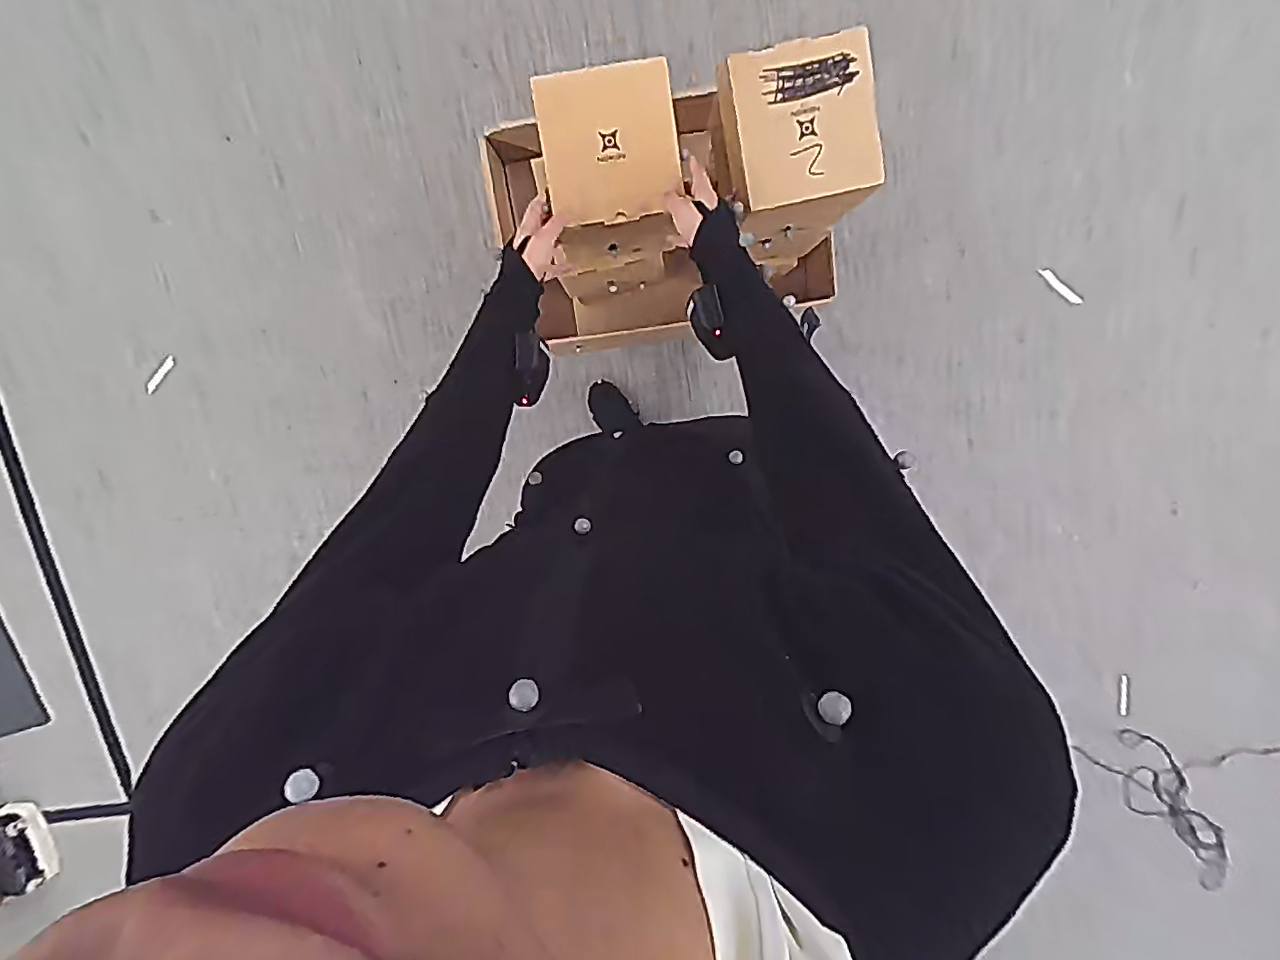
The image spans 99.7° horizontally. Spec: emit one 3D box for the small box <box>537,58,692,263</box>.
[{"bbox_3d":[-0.033,-0.412,0.727,0.168,0.176,0.179,-10,100,0],"label":"small box"}]

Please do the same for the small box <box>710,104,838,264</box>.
[{"bbox_3d":[0.208,-0.467,0.876,0.168,0.176,0.179,-5,99,1],"label":"small box"}]

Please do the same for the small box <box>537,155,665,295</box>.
[{"bbox_3d":[-0.060,-0.421,0.890,0.168,0.176,0.179,-13,100,1],"label":"small box"}]
